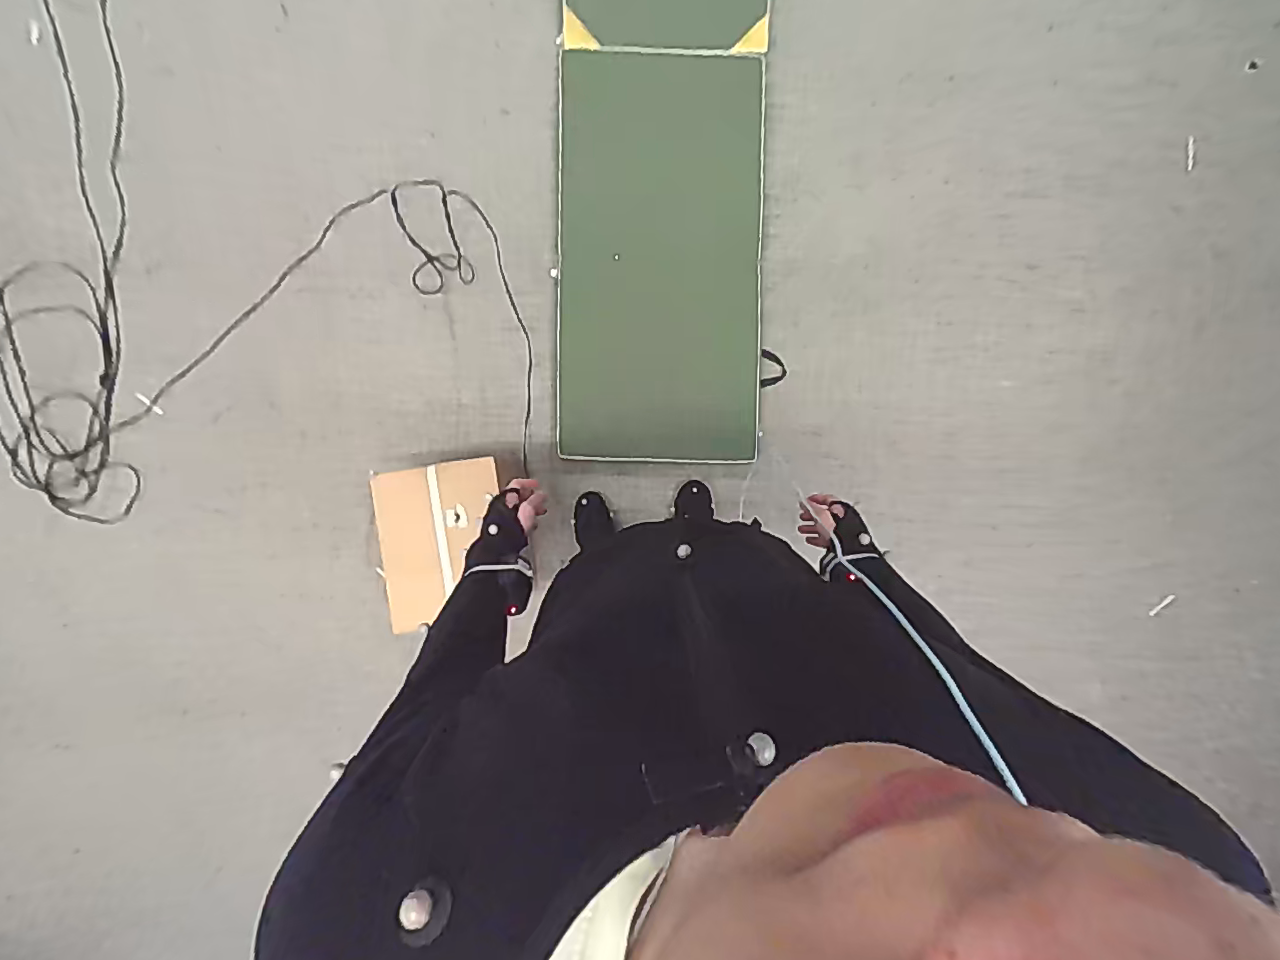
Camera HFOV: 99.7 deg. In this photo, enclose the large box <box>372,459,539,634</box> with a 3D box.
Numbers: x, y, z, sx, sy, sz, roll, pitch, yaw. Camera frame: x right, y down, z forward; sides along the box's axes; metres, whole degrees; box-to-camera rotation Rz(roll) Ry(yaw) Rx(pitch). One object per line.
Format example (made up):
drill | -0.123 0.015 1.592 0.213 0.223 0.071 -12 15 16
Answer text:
large box | -0.485 0.168 1.493 0.320 0.320 0.408 -9 90 -1
